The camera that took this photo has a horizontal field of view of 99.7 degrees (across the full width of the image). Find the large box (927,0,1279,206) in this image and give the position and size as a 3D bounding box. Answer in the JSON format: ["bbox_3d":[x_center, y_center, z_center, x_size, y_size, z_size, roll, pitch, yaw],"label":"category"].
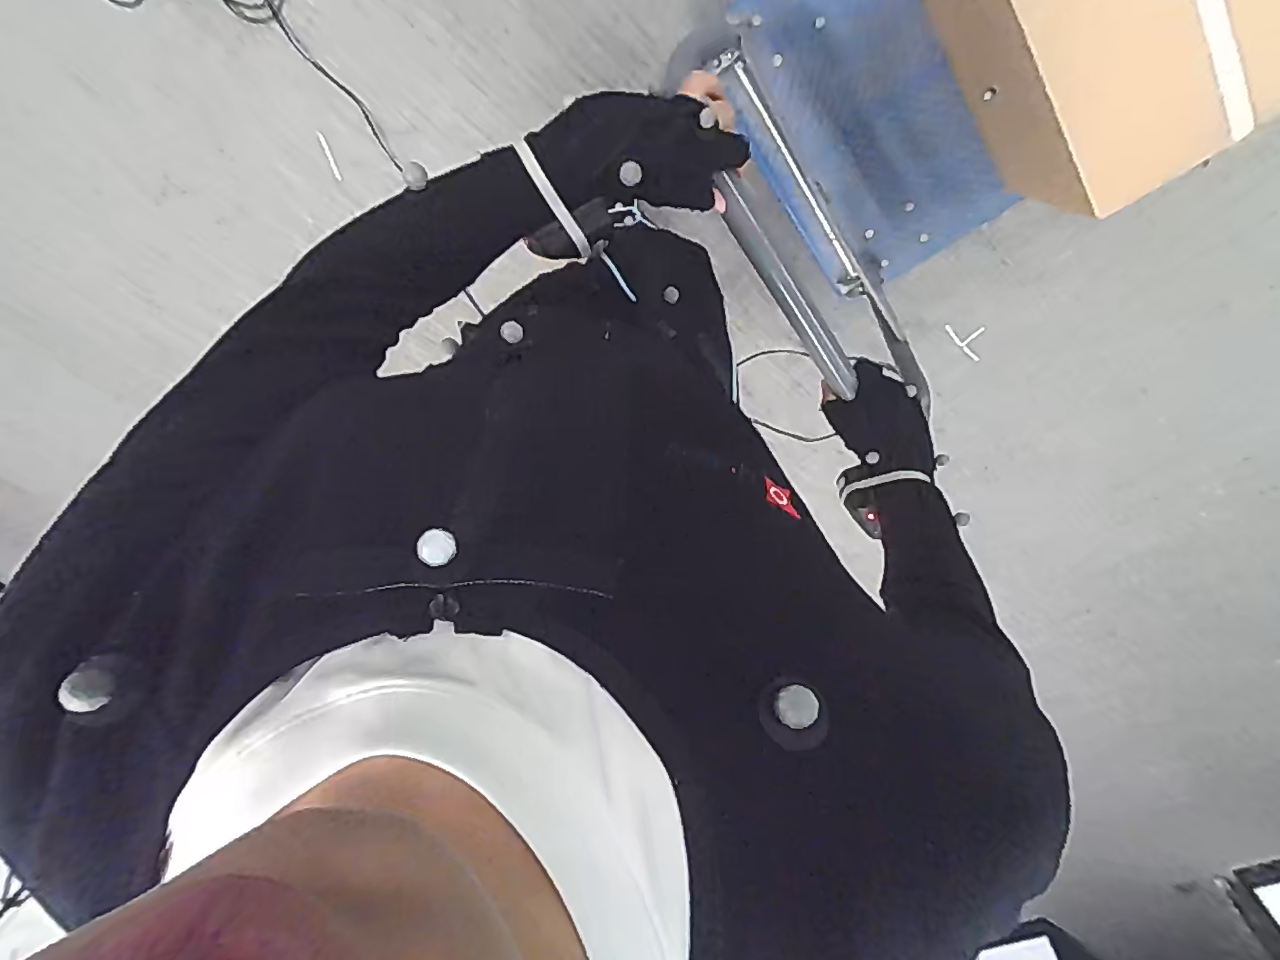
[{"bbox_3d":[0.651,-0.672,0.742,0.320,0.320,0.408,-32,114,28],"label":"large box"}]
